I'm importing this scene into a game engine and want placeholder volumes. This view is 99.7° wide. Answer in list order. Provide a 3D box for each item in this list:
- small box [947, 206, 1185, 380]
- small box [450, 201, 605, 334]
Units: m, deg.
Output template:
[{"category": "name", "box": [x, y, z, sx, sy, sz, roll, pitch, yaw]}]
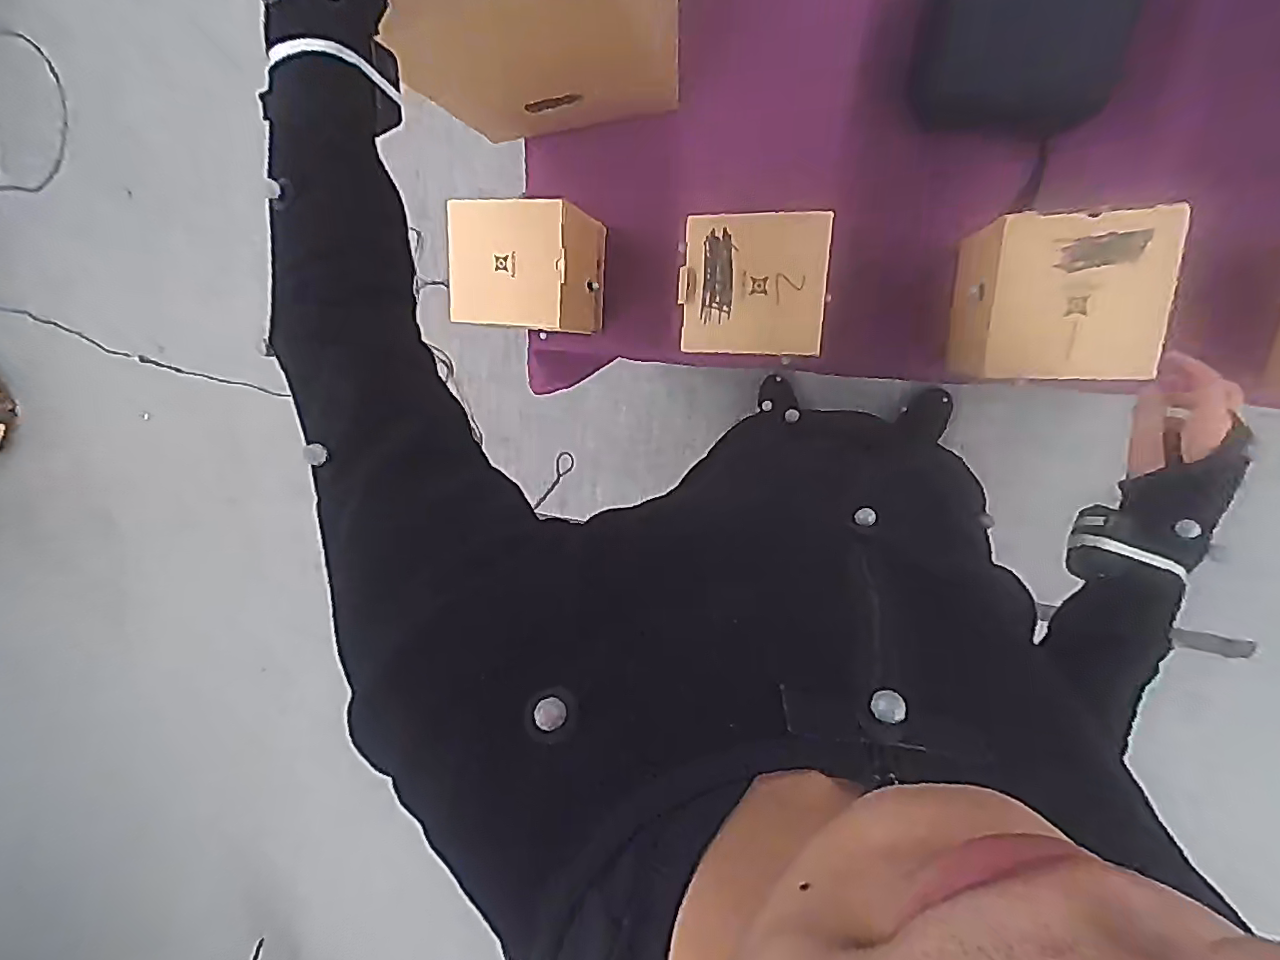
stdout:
[{"category": "small box", "box": [0.492, -0.214, 0.657, 0.168, 0.176, 0.179, 4, 104, 16]}, {"category": "small box", "box": [-0.165, -0.313, 0.822, 0.179, 0.176, 0.168, 7, 104, 13]}]
